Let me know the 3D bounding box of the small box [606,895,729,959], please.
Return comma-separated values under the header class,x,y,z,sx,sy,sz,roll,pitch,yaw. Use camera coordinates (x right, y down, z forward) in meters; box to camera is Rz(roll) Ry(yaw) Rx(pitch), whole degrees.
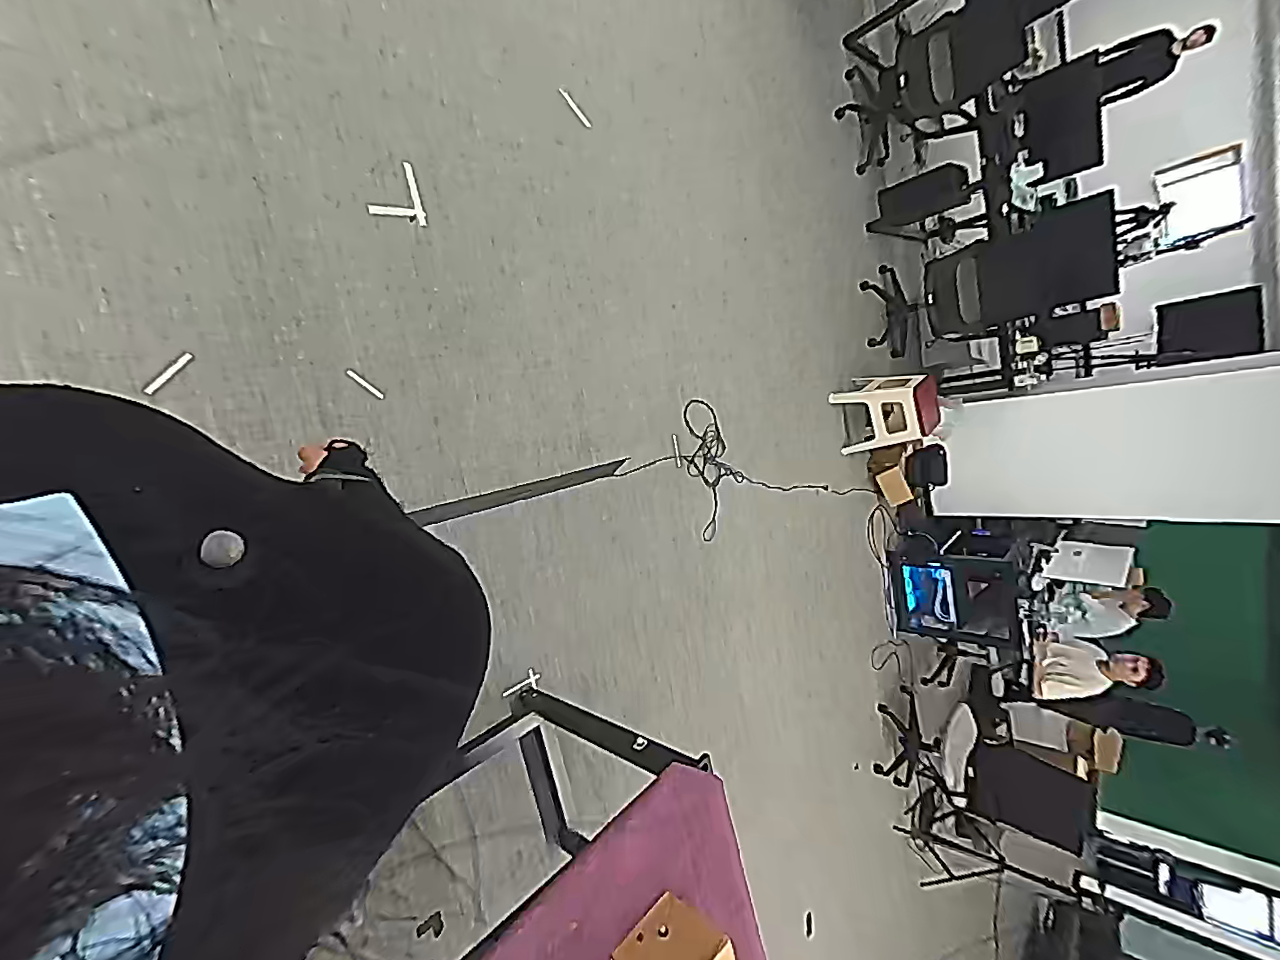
class,x,y,z,sx,sy,sz,roll,pitch,yaw
small box,0.061,0.957,1.030,0.168,0.176,0.179,-21,102,-41
